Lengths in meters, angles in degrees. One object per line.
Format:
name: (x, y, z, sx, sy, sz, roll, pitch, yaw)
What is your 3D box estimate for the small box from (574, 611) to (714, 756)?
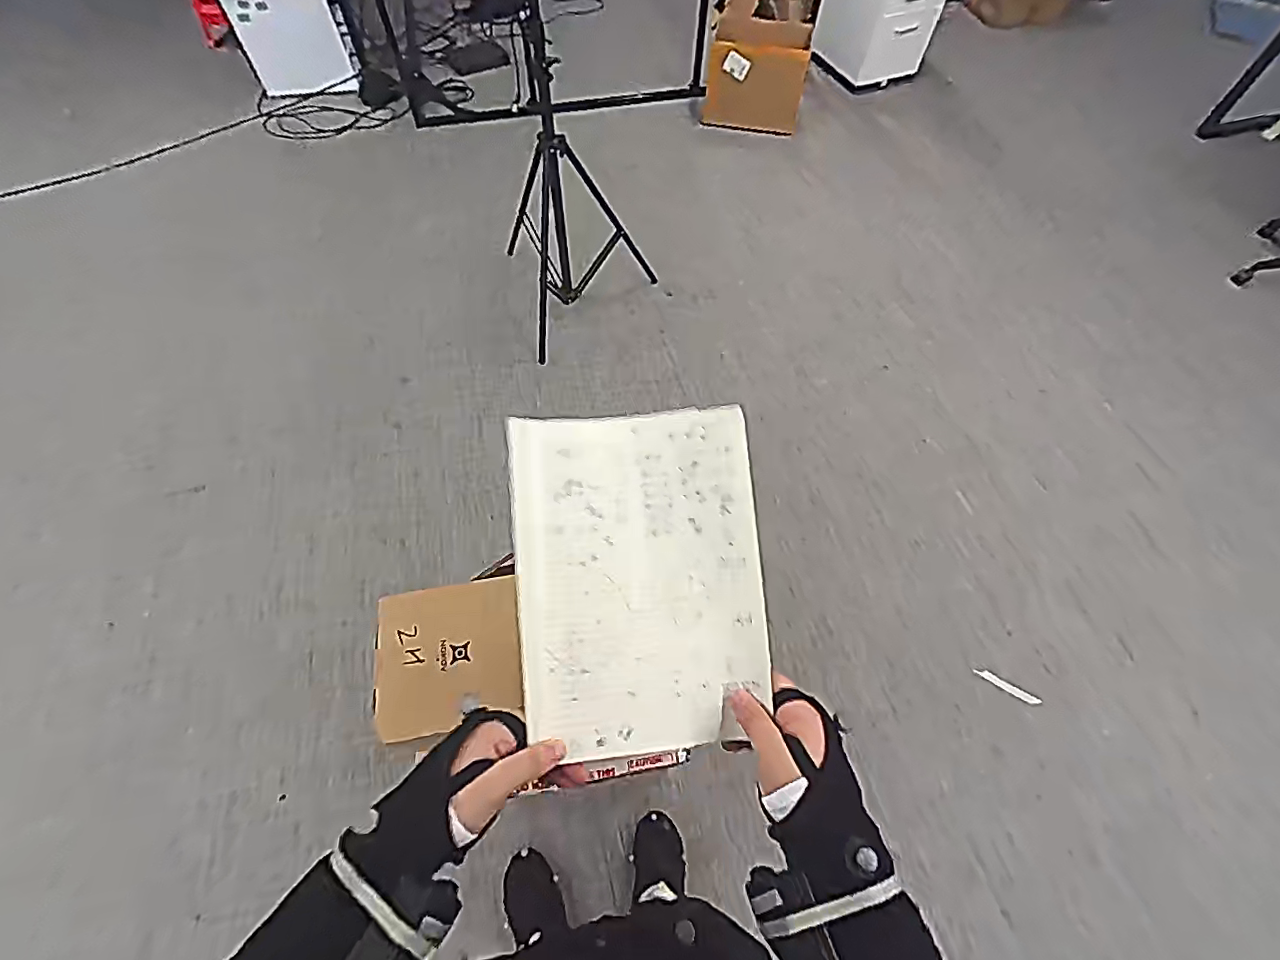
small box: (-0.002, 0.324, 0.851, 0.179, 0.176, 0.168, -12, 62, -9)

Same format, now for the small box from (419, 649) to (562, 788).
small box: (-0.214, 0.362, 0.823, 0.179, 0.176, 0.168, -6, 62, -3)
